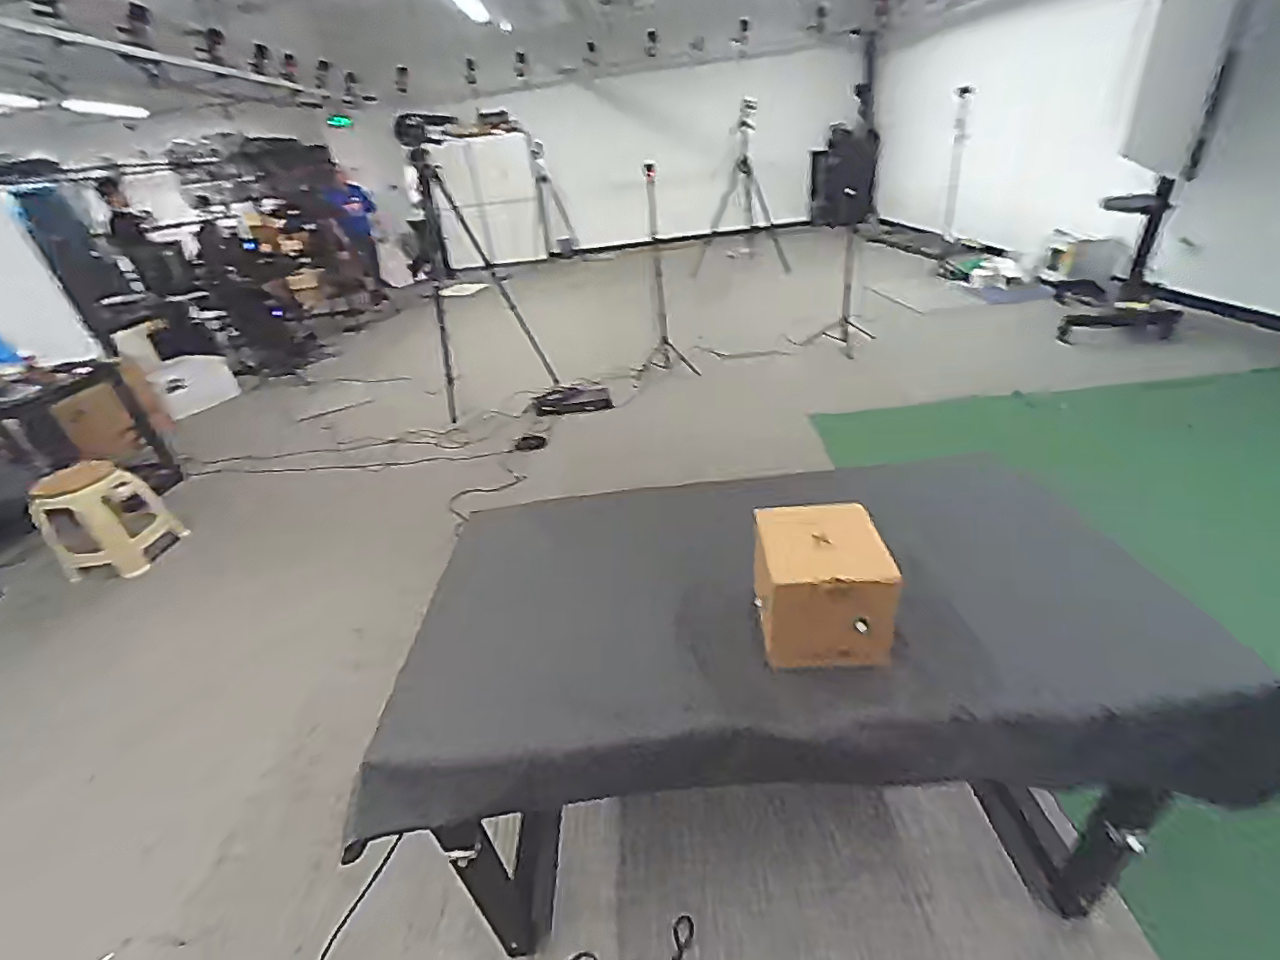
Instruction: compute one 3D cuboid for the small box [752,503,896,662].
[{"bbox_3d":[0.263,0.155,0.812,0.168,0.176,0.179,-3,30,5],"label":"small box"}]
